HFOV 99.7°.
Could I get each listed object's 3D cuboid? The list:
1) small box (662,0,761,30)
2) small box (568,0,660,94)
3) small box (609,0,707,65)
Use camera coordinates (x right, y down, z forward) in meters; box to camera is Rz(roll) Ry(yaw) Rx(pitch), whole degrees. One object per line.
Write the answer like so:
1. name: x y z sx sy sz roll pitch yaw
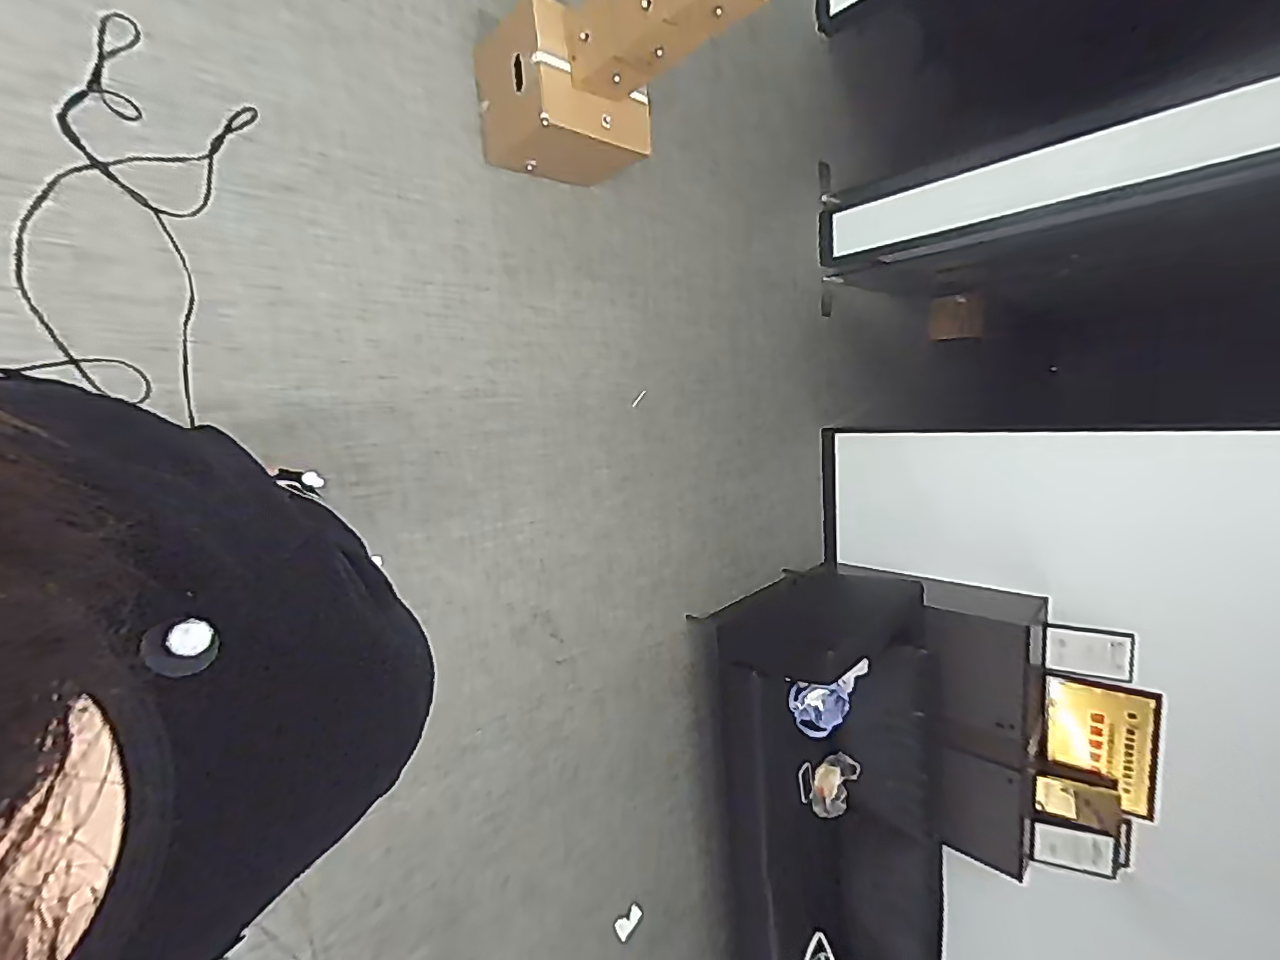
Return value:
1. small box: 0.158 -1.146 1.197 0.179 0.176 0.168 -22 107 -41
2. small box: -0.074 -1.163 1.431 0.179 0.176 0.168 -18 105 -41
3. small box: 0.038 -1.156 1.310 0.168 0.176 0.179 -19 105 -43
